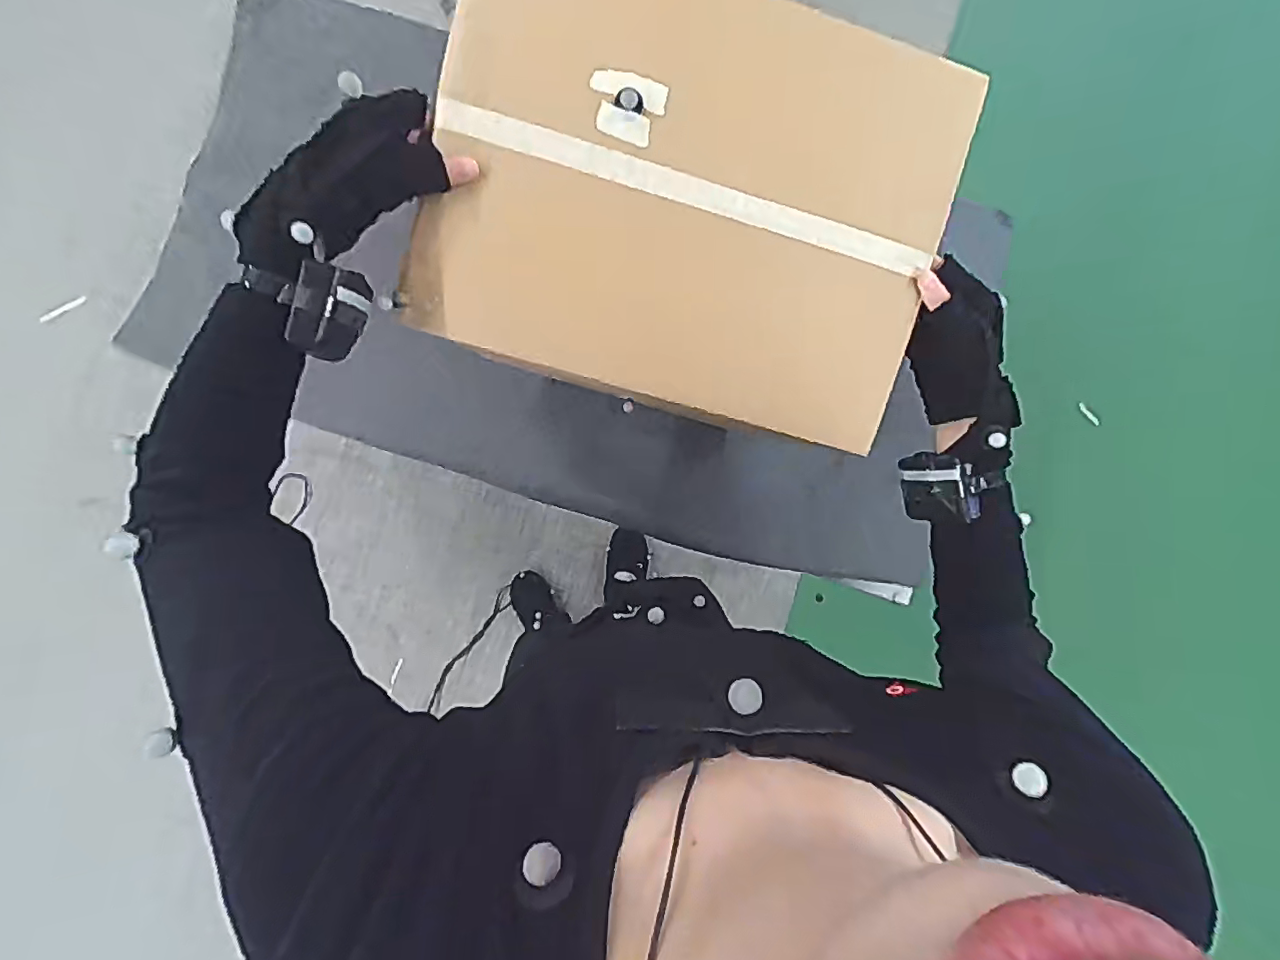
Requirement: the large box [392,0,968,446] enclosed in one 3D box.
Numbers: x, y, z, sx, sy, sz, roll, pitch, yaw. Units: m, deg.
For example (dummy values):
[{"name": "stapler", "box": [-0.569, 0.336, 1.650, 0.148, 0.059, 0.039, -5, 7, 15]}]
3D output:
[{"name": "large box", "box": [0.026, -0.238, 0.572, 0.408, 0.320, 0.320, 14, 95, -4]}]
